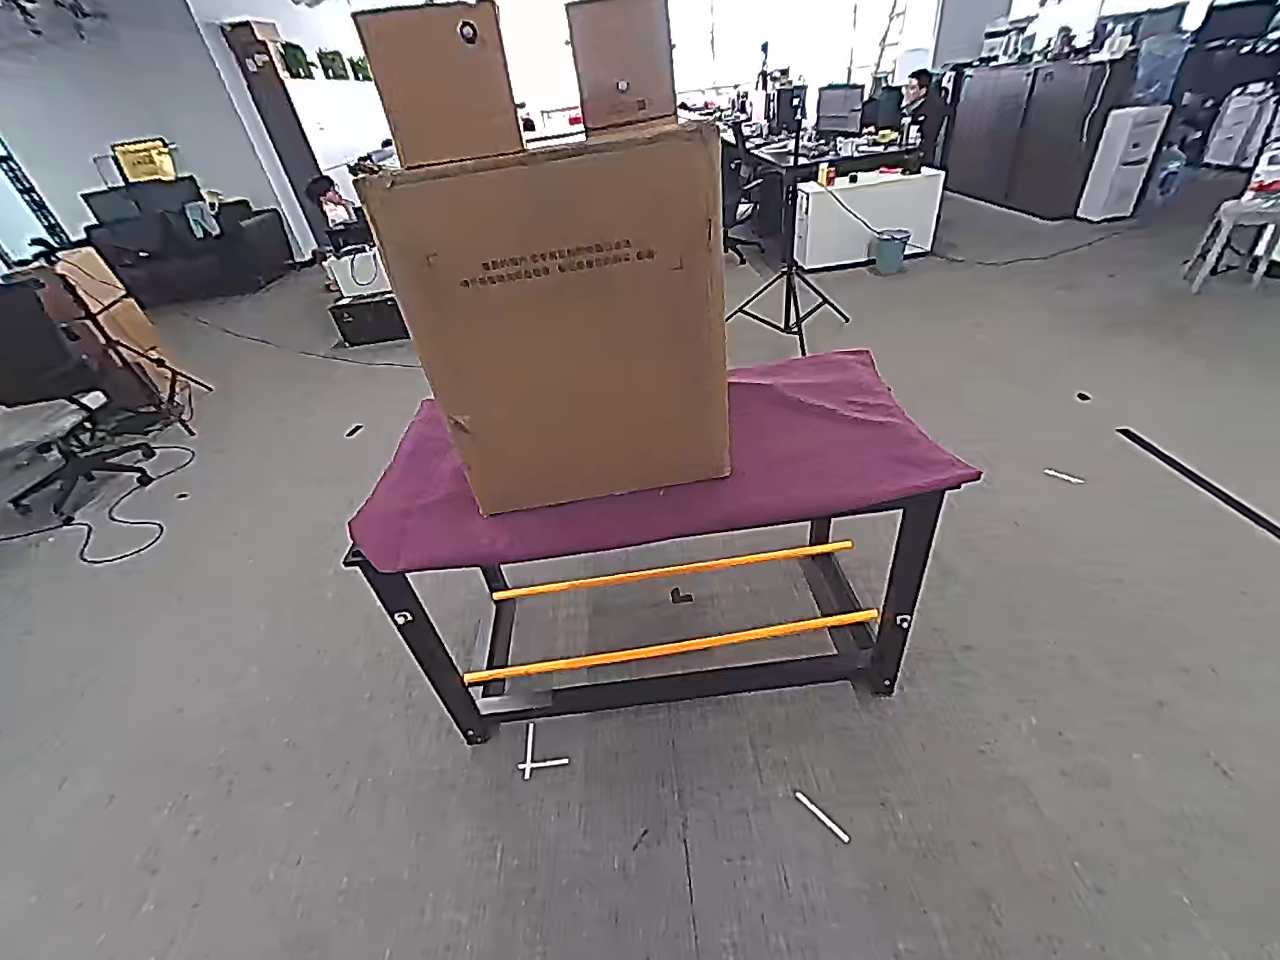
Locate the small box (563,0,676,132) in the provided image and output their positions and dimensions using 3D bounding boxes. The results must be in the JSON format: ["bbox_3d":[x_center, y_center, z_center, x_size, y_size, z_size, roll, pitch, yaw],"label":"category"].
[{"bbox_3d":[-0.032,-0.721,0.946,0.168,0.176,0.179,-9,36,2],"label":"small box"}]
